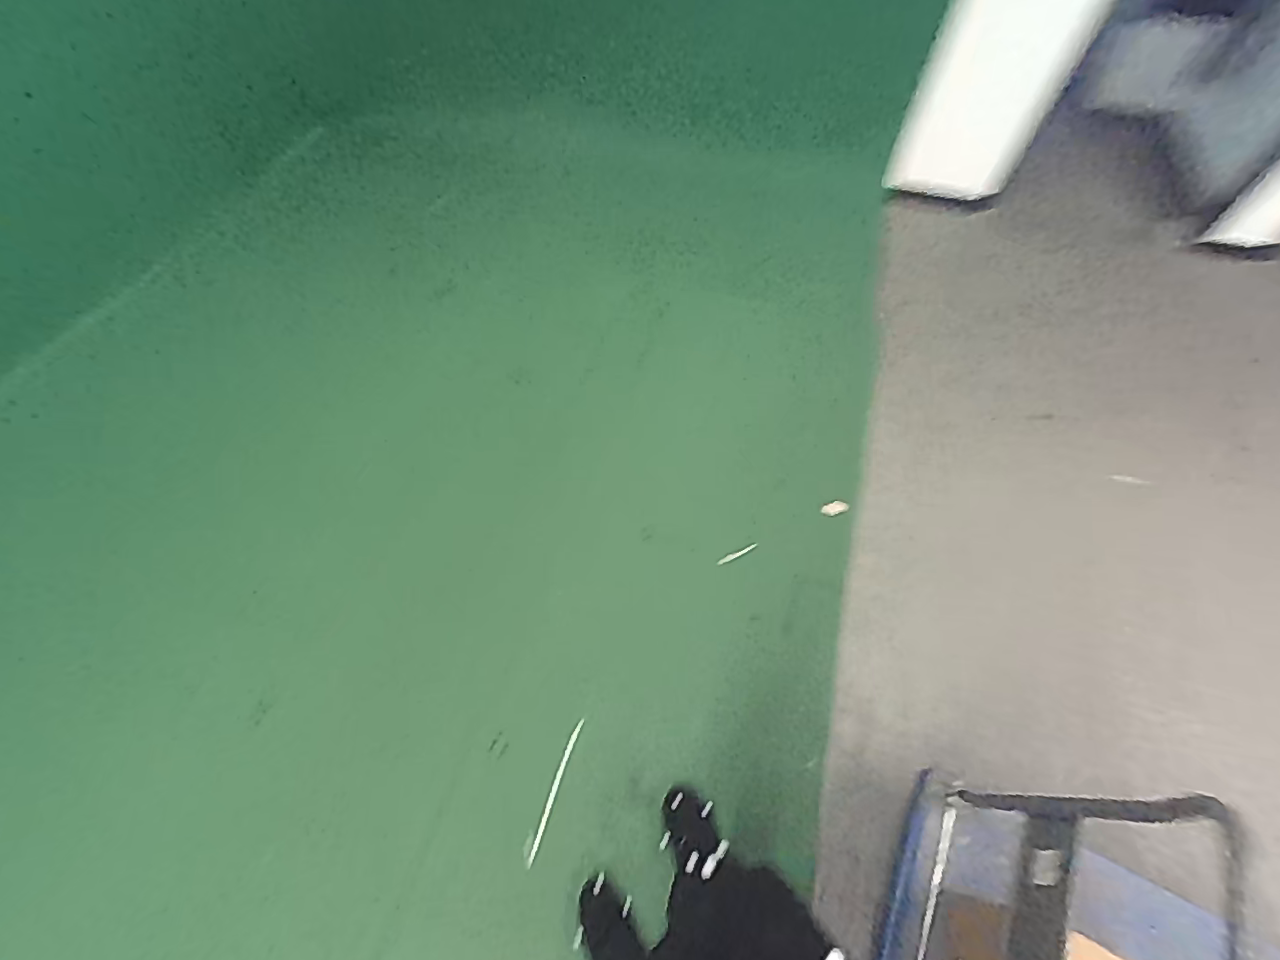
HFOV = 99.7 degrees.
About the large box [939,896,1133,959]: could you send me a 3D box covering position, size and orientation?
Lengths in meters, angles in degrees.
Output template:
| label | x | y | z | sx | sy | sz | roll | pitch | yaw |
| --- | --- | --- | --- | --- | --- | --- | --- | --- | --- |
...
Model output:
| label | x | y | z | sx | sy | sz | roll | pitch | yaw |
| --- | --- | --- | --- | --- | --- | --- | --- | --- | --- |
| large box | 0.762 | 0.976 | 0.893 | 0.408 | 0.320 | 0.320 | 24 | 62 | 12 |
